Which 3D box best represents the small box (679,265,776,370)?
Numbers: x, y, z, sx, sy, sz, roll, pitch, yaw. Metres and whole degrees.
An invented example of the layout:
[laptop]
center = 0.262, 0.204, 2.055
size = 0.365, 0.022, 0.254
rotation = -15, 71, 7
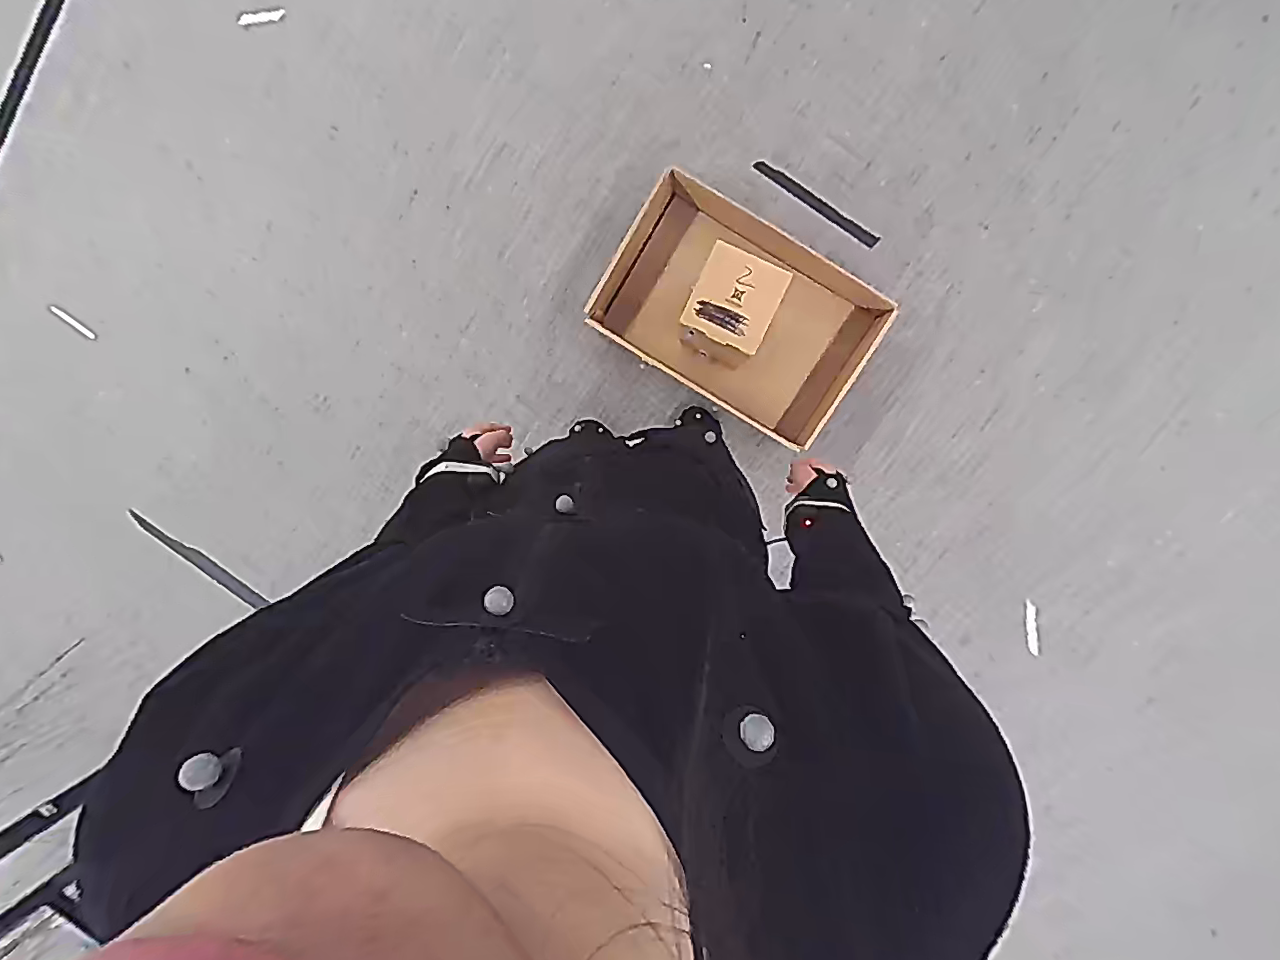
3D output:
[small box]
center = 0.203, -0.382, 1.304
size = 0.168, 0.176, 0.179
rotation = 27, 99, 2
